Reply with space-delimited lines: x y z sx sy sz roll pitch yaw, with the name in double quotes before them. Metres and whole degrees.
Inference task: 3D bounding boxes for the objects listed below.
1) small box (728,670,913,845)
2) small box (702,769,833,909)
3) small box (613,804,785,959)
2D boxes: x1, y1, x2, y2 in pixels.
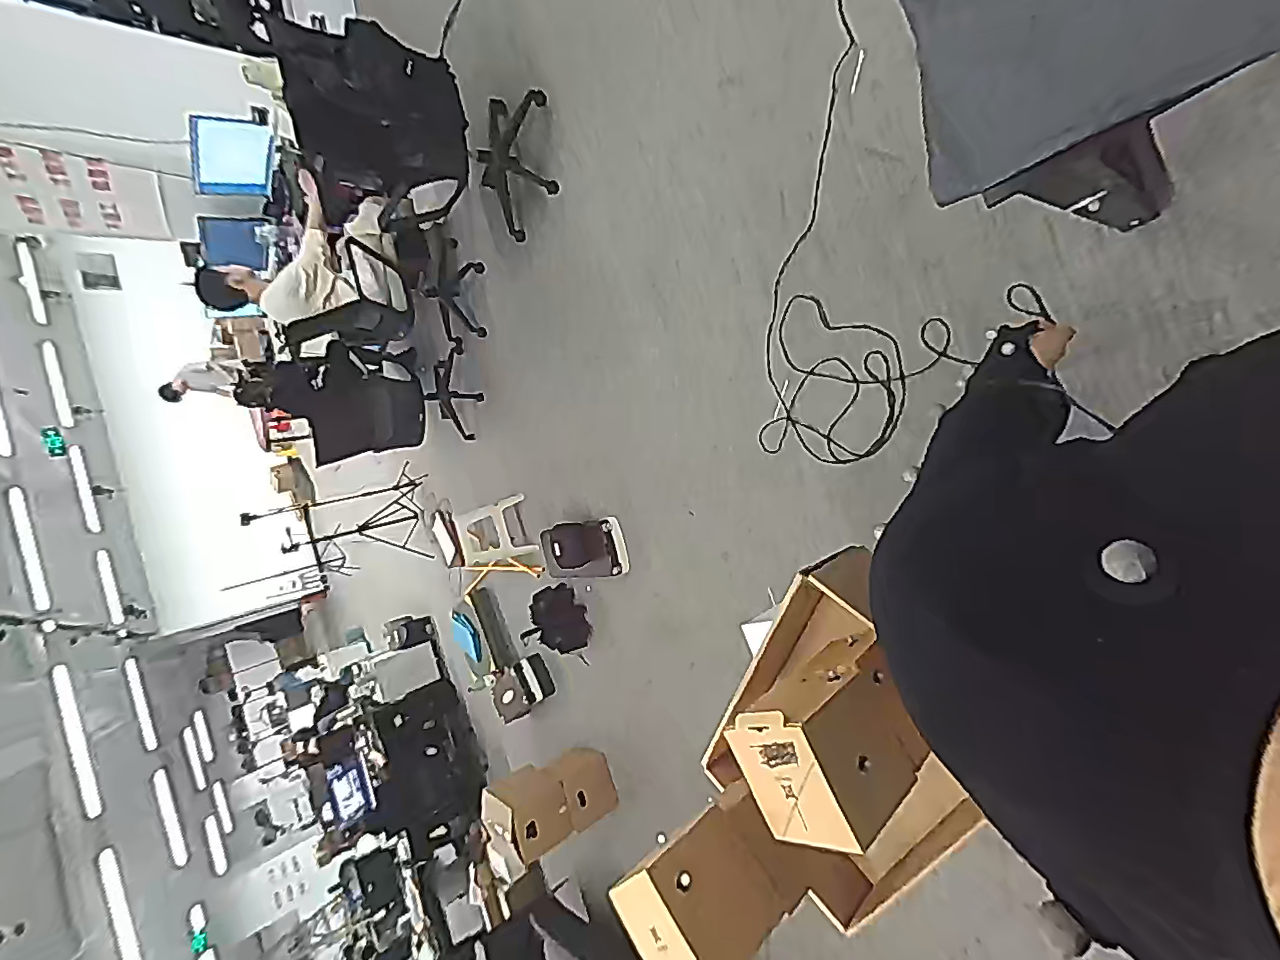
"small box" 0.273 0.405 0.823 0.168 0.176 0.179 -36 77 51
"small box" 0.213 0.636 0.975 0.168 0.176 0.179 52 134 22
"small box" 0.092 0.654 0.862 0.179 0.176 0.168 50 135 24
